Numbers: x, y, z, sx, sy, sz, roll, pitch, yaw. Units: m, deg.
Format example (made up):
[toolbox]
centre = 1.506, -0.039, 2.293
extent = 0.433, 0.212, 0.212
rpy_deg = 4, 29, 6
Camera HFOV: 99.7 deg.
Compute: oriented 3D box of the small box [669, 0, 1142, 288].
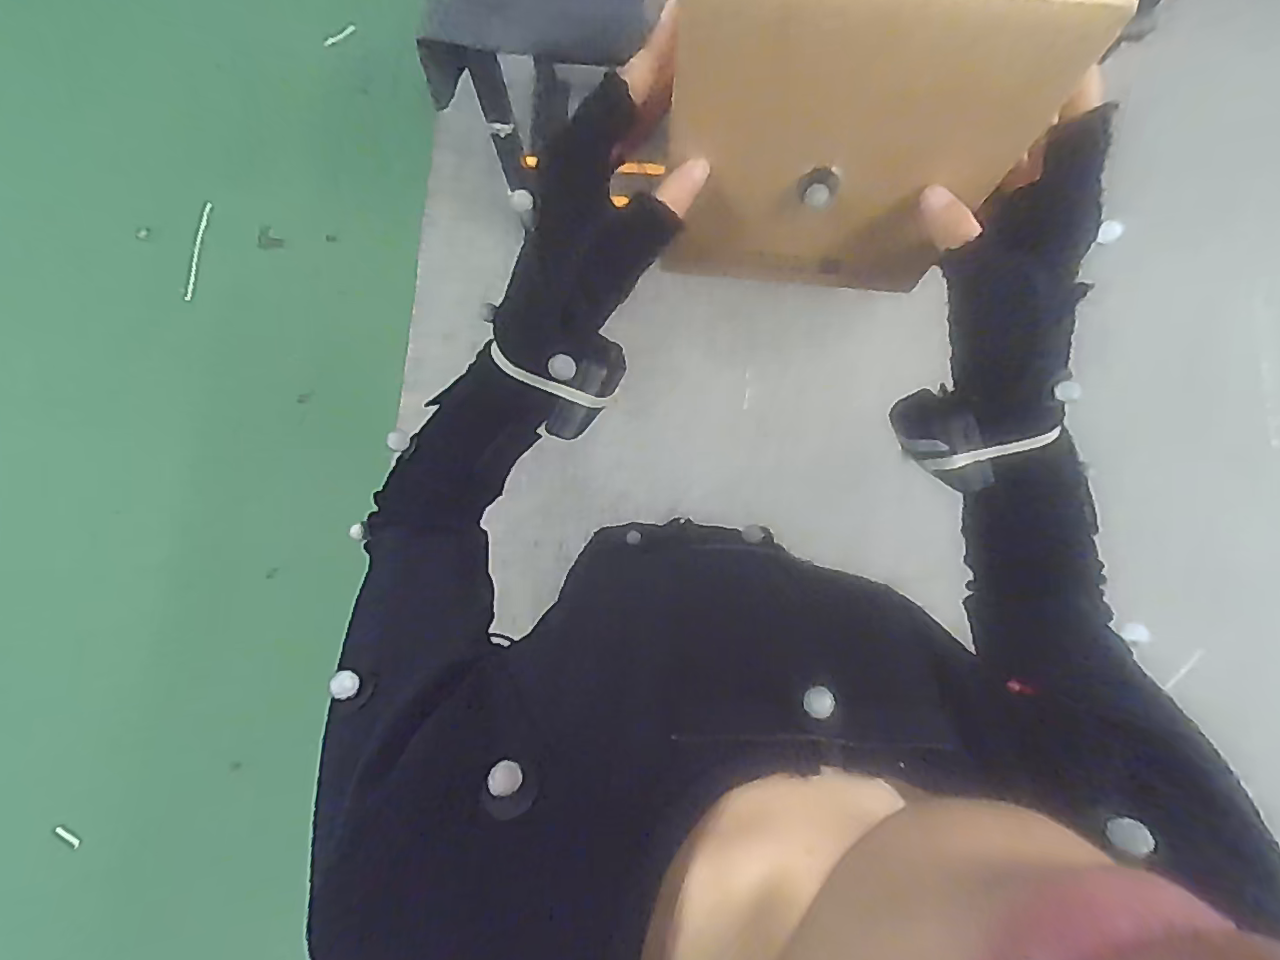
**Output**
[small box]
centre = 0.108, -0.231, 0.298
extent = 0.168, 0.176, 0.179
rpy_deg = 6, 73, 0
